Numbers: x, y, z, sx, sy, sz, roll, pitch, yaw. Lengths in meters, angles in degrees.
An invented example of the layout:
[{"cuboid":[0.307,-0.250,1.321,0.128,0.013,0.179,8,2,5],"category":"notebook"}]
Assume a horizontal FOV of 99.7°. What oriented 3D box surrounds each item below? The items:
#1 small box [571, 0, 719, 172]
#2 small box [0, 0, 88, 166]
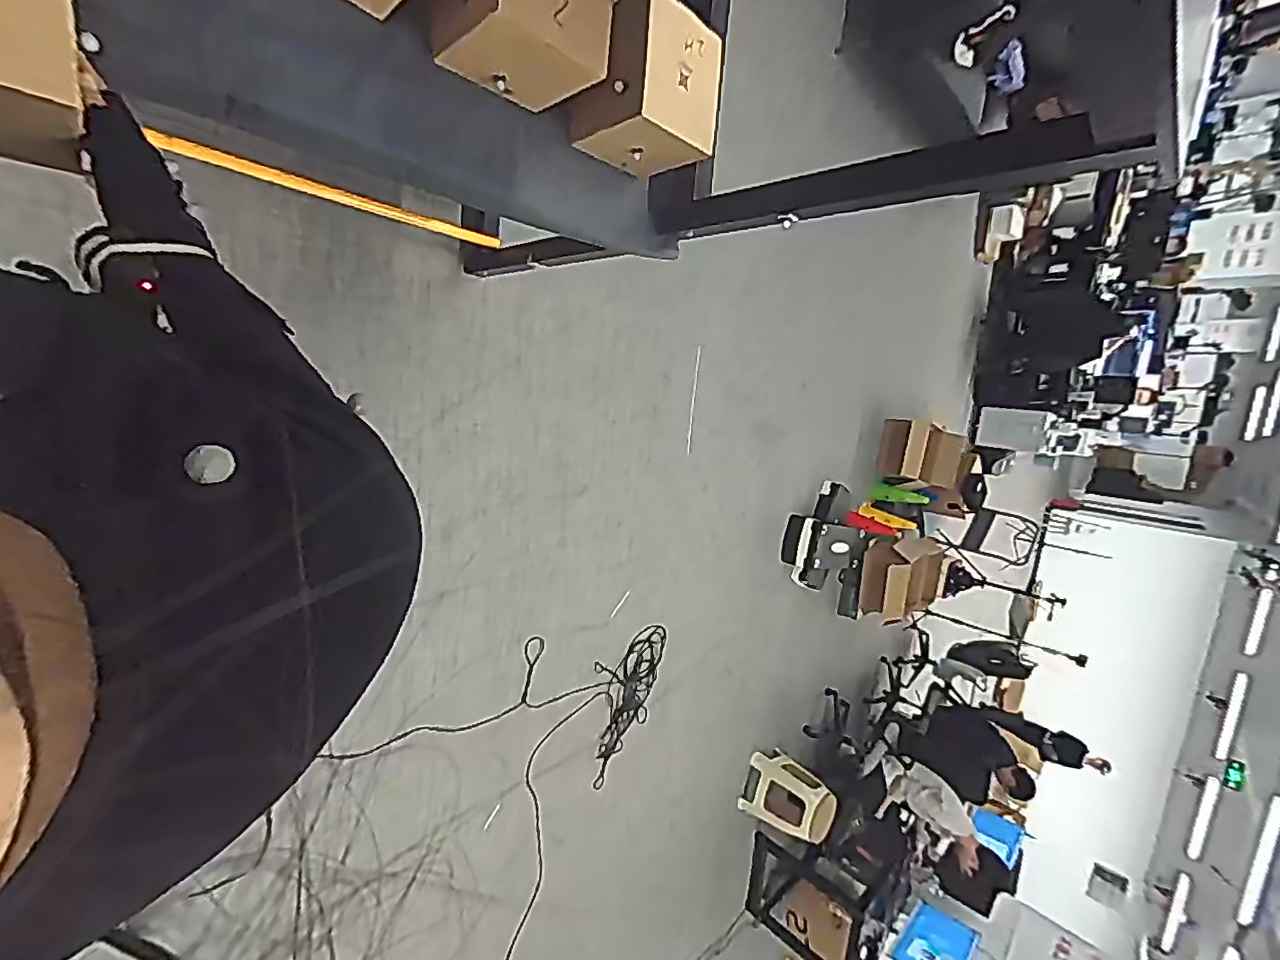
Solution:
[{"cuboid":[0.003,-0.626,0.871,0.168,0.176,0.179,-6,104,-46],"category":"small box"},{"cuboid":[-0.510,-0.356,0.375,0.168,0.176,0.179,-6,101,-46],"category":"small box"}]
